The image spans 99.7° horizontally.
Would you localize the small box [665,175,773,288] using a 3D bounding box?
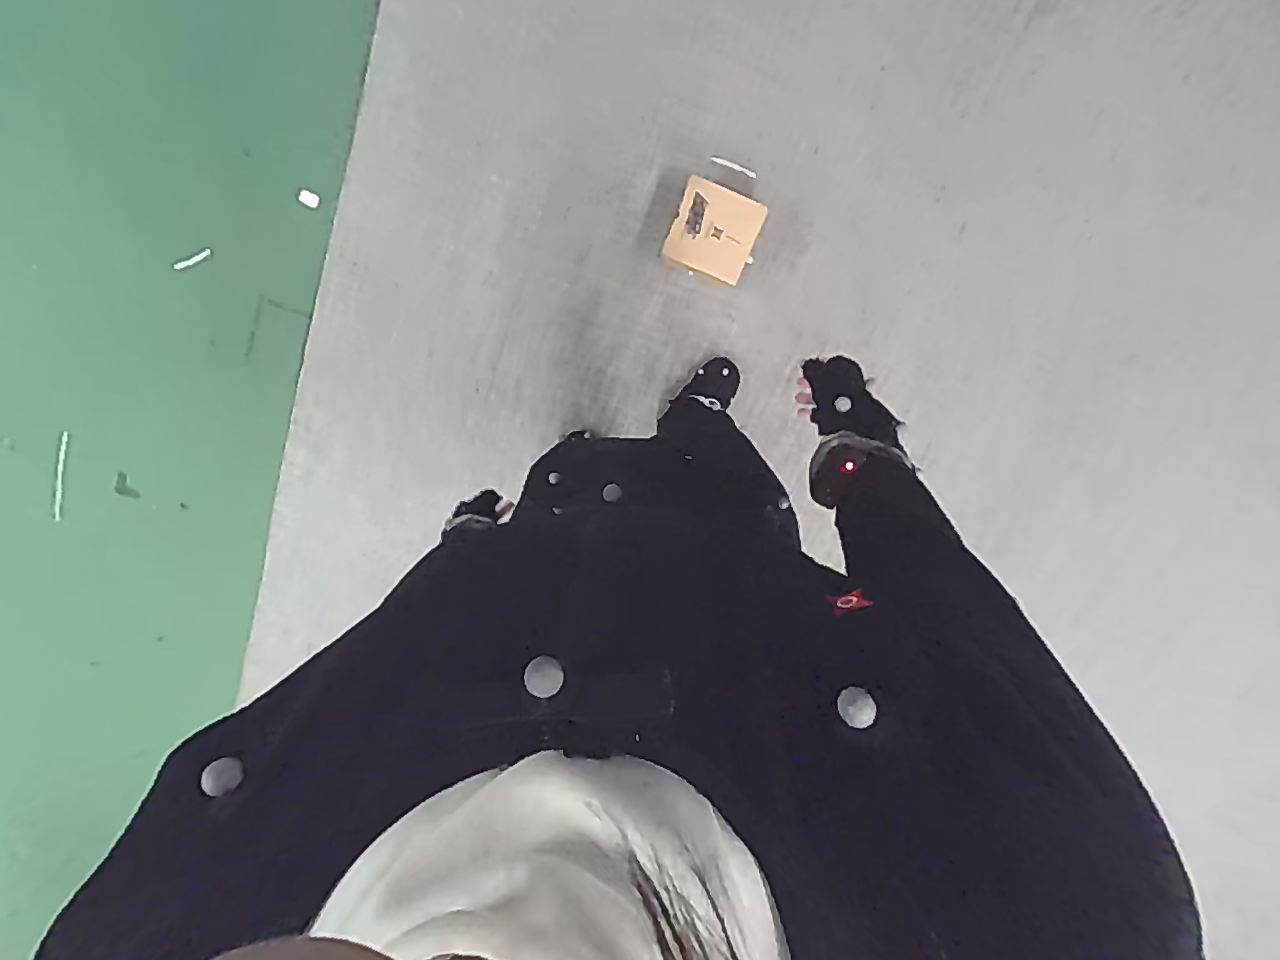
[{"bbox_3d":[0.172,-0.537,1.199,0.179,0.176,0.168,25,107,0],"label":"small box"}]
